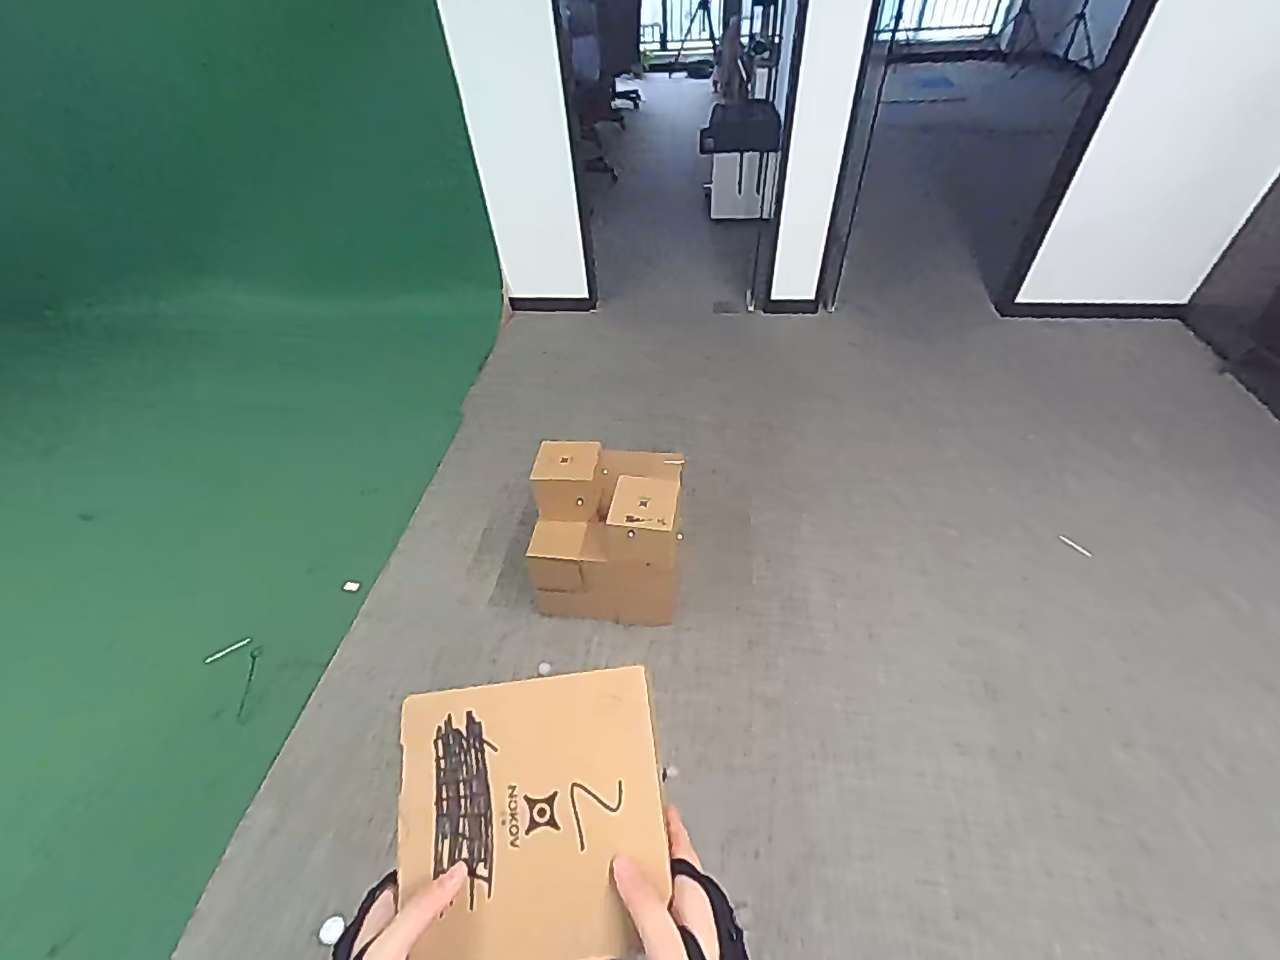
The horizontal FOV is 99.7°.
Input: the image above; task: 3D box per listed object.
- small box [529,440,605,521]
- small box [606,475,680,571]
[{"bbox_3d":[-0.201,0.003,1.558,0.179,0.176,0.168,2,43,6],"label":"small box"},{"bbox_3d":[0.011,0.113,1.429,0.168,0.176,0.179,6,45,9],"label":"small box"}]
